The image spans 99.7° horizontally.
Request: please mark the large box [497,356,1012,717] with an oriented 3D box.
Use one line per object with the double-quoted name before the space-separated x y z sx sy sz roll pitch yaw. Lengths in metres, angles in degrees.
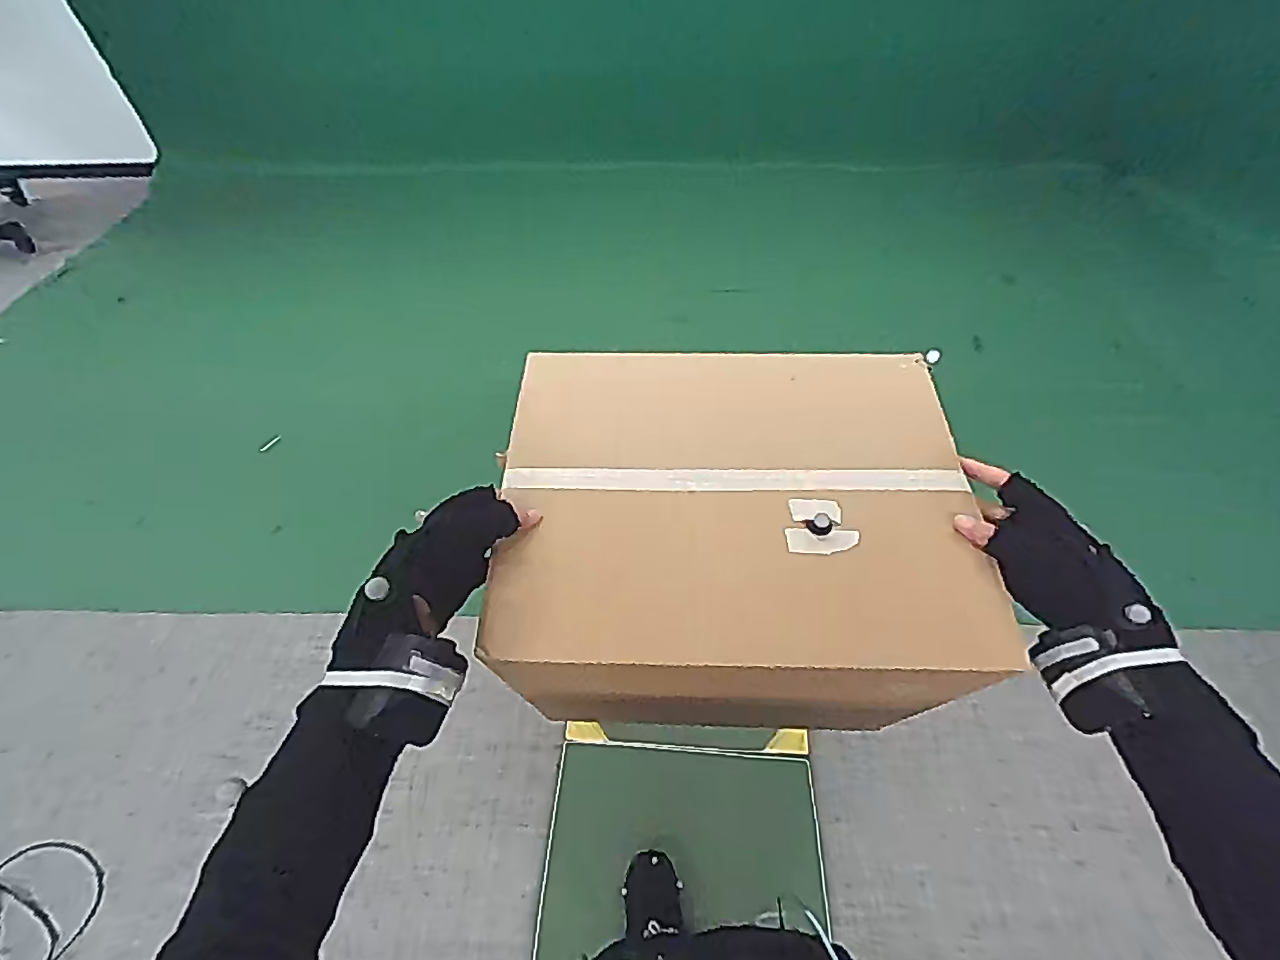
"large box" 0.087 0.079 0.615 0.408 0.320 0.320 1 59 1
